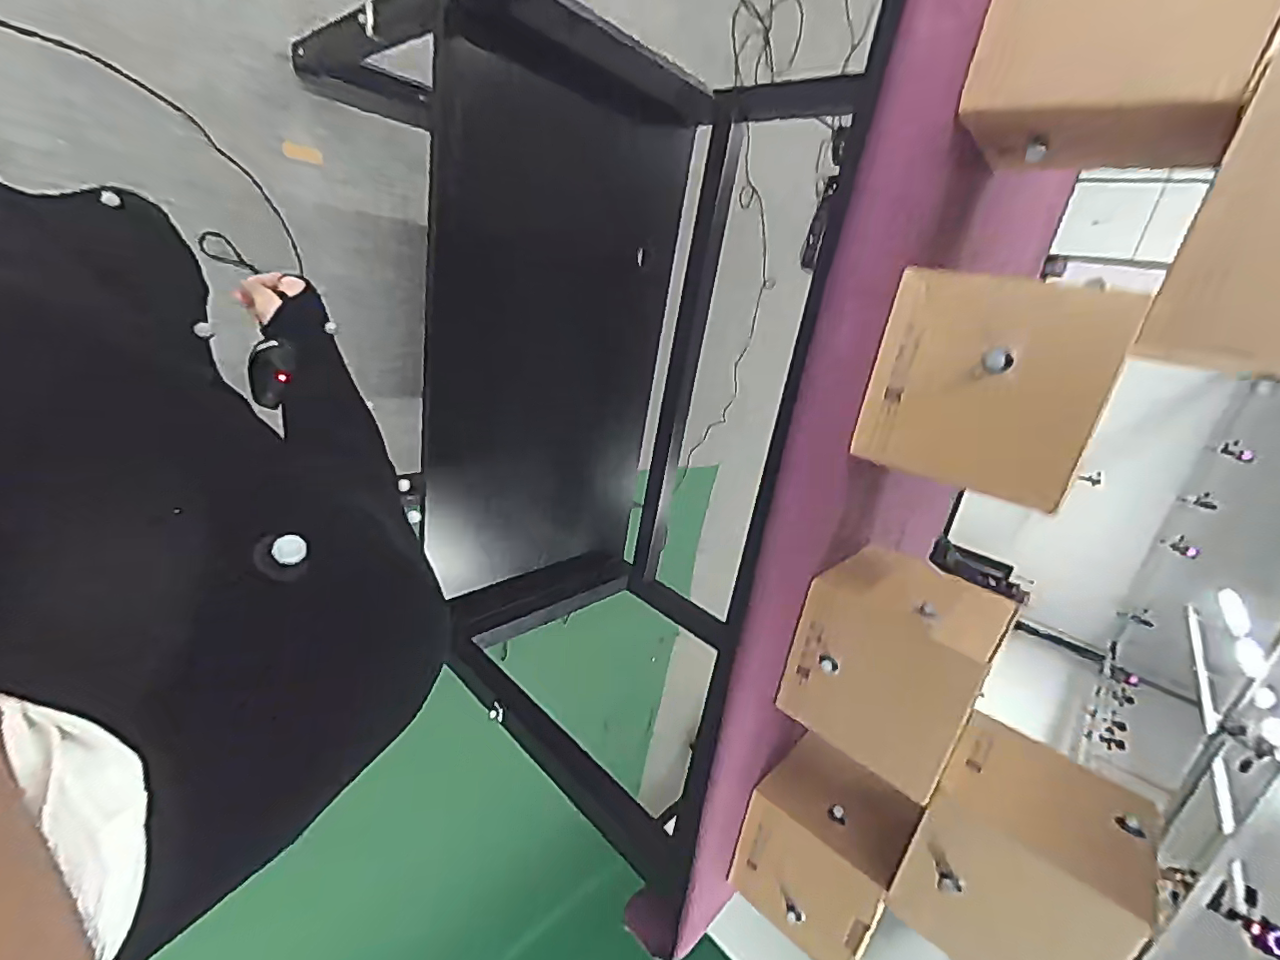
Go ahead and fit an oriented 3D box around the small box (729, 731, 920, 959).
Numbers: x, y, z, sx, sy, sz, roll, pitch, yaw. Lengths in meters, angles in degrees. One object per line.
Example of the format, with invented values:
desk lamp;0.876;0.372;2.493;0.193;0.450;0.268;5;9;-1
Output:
small box;0.238;0.474;0.705;0.179;0.176;0.168;-10;117;-48

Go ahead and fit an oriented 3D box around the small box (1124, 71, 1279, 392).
small box;0.467;-0.150;0.365;0.168;0.176;0.179;-10;118;-49

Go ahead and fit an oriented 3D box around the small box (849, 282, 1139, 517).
small box;0.317;-0.082;0.498;0.179;0.176;0.168;-11;117;-48

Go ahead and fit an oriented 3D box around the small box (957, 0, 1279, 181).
small box;0.370;-0.345;0.409;0.168;0.176;0.179;-11;119;-47

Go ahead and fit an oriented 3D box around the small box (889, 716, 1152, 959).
small box;0.379;0.388;0.556;0.168;0.176;0.179;-15;121;-47
